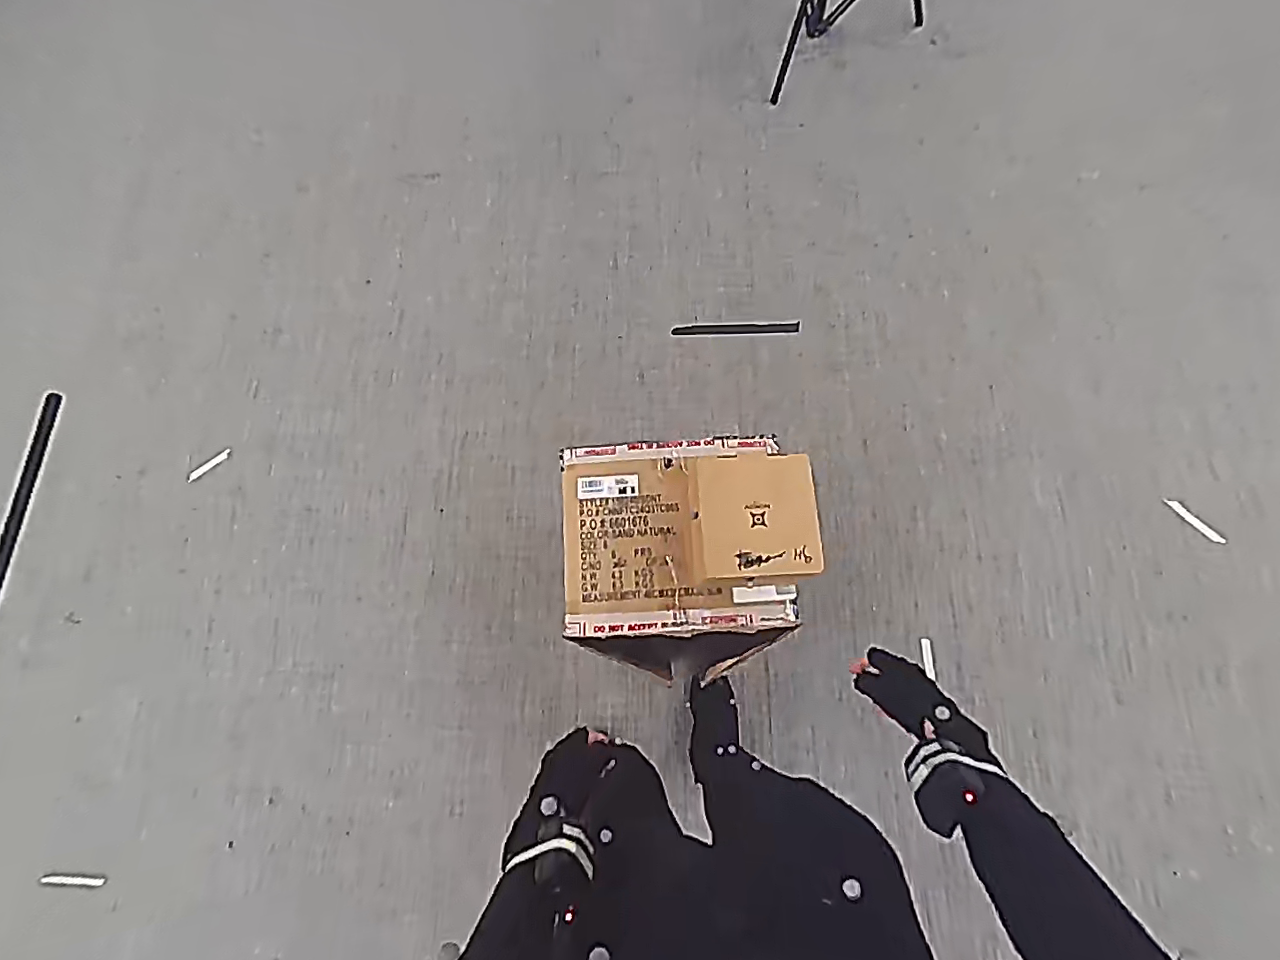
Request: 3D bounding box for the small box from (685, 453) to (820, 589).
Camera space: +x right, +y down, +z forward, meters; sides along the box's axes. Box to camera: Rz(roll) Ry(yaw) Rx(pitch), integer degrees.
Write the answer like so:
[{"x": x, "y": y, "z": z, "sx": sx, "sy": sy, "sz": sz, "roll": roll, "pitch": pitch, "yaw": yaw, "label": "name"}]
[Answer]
[{"x": 0.161, "y": 0.069, "z": 0.833, "sx": 0.168, "sy": 0.176, "sz": 0.179, "roll": -3, "pitch": 73, "yaw": 0, "label": "small box"}]
